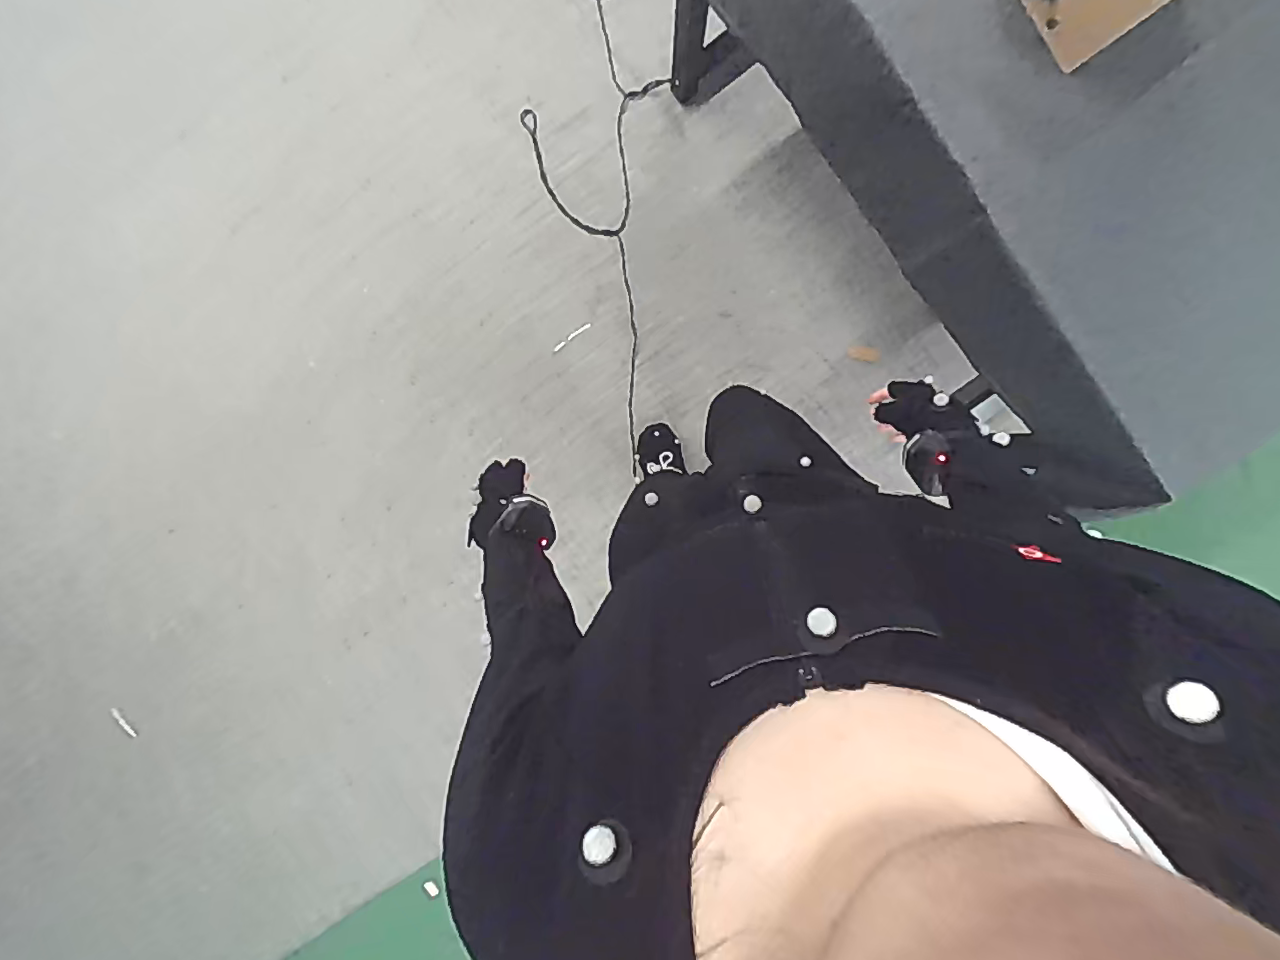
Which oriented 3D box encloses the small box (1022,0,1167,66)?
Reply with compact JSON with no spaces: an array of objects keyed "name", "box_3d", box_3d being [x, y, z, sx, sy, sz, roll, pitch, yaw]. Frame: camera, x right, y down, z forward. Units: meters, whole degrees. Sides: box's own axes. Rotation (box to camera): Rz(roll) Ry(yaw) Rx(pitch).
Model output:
[{"name":"small box","box_3d":[0.571,-0.634,0.606,0.179,0.176,0.168,-35,94,4]}]
